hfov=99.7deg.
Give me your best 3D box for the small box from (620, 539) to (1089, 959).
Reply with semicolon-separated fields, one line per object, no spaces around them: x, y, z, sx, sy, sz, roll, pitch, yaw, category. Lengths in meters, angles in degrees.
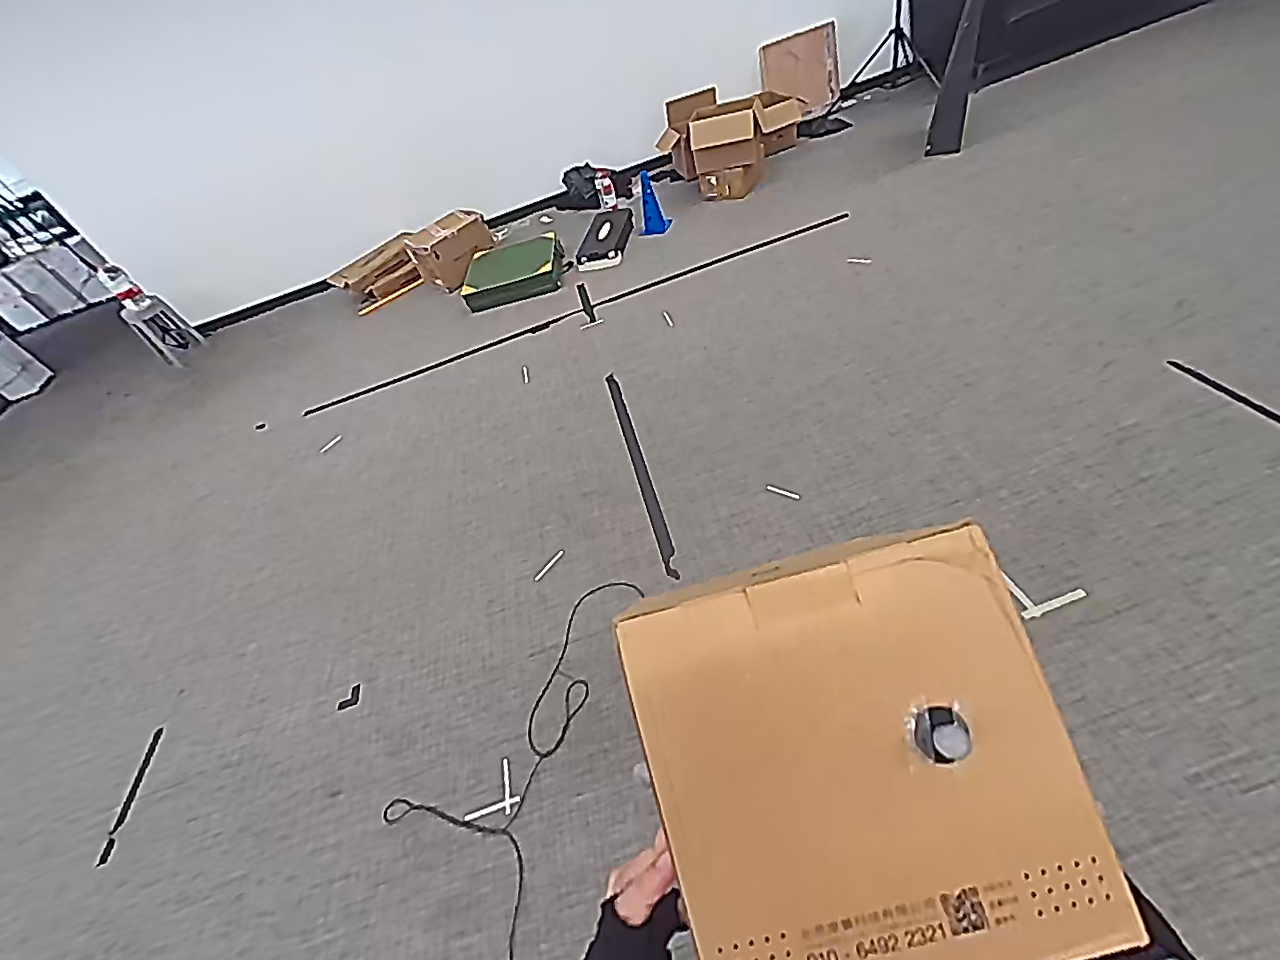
0.099;0.141;0.316;0.168;0.179;0.176;-17;79;4;small box
